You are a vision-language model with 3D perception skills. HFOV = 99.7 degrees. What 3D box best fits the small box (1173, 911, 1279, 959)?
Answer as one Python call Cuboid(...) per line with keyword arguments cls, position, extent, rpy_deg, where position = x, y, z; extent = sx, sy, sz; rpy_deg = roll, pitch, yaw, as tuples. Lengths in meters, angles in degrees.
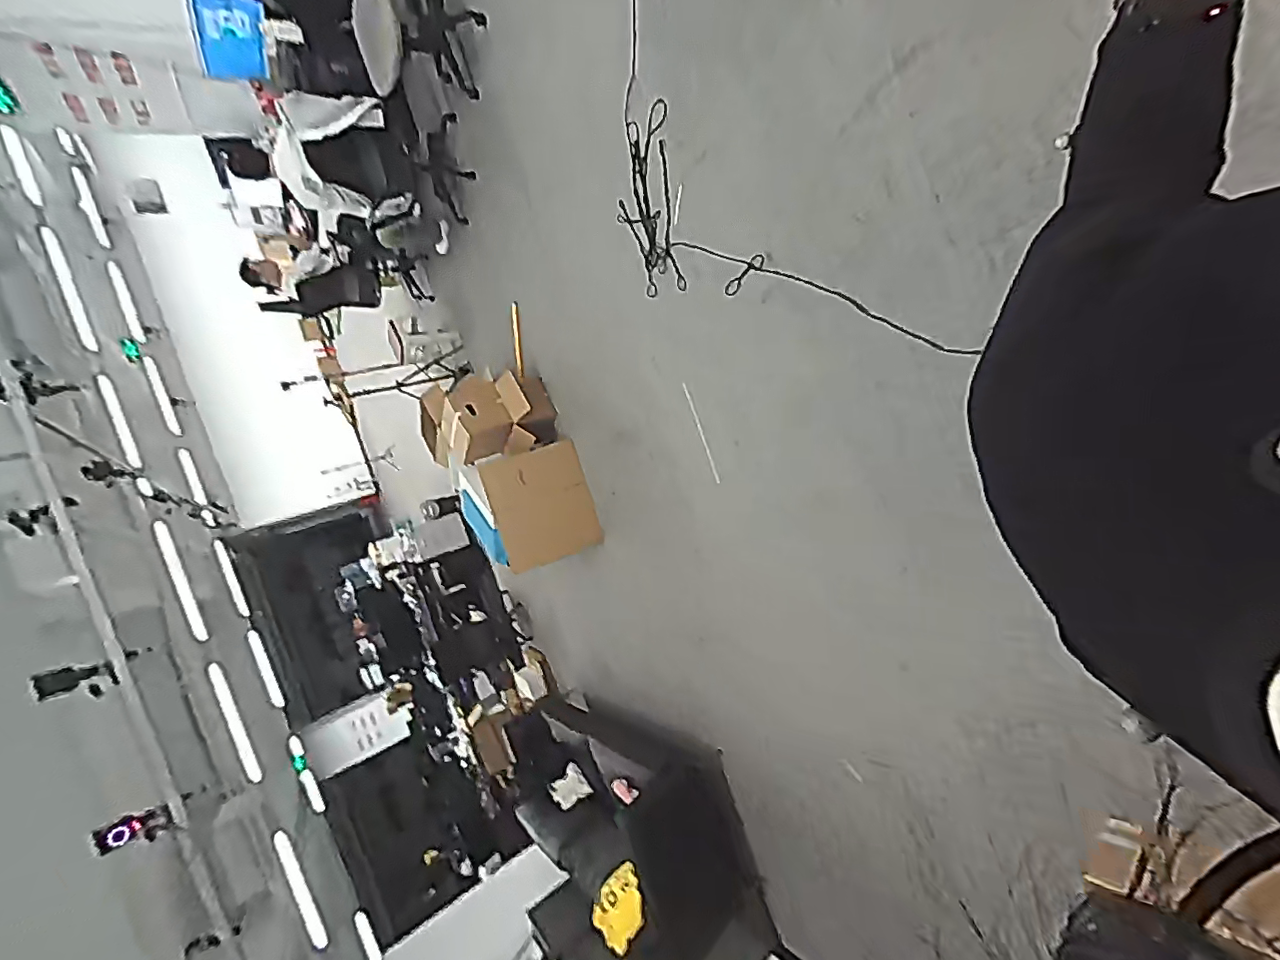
Cuboid(cls="small box", position=(1.020, 0.897, 0.913), extent=(0.168, 0.176, 0.179), rpy_deg=(5, 110, 55))
